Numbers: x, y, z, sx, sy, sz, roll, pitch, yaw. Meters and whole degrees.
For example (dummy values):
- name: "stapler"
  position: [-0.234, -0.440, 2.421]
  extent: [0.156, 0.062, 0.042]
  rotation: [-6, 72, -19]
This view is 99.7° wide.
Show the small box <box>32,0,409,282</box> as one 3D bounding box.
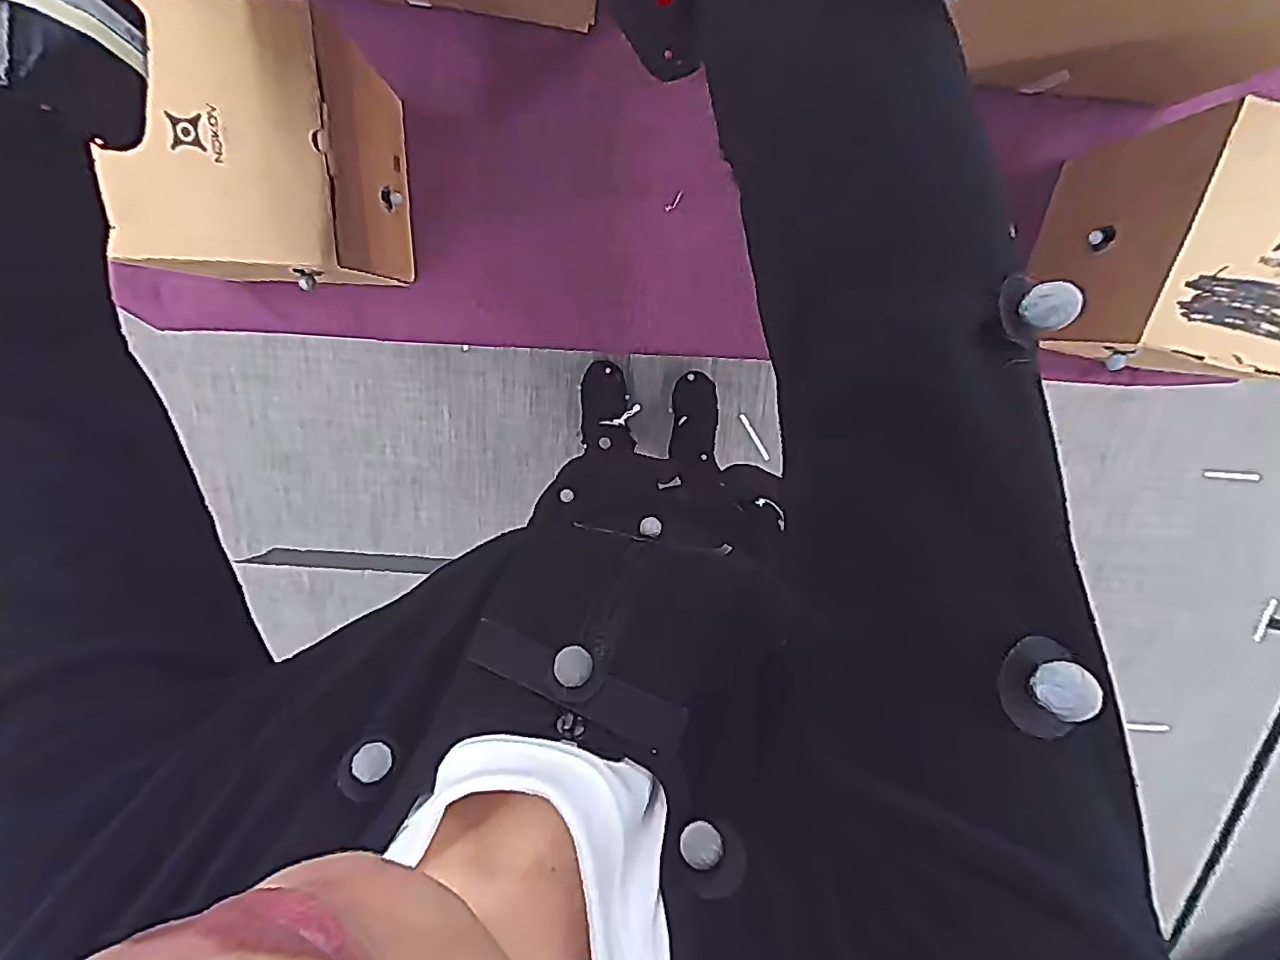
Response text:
- name: "small box"
  position: [-0.314, -0.260, 0.450]
  extent: [0.179, 0.176, 0.168]
  rotation: [0, 106, -6]

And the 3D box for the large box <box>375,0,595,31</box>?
- name: "large box"
  position: [-0.167, -0.571, 0.293]
  extent: [0.320, 0.320, 0.408]
  rotation: [5, 109, -4]
